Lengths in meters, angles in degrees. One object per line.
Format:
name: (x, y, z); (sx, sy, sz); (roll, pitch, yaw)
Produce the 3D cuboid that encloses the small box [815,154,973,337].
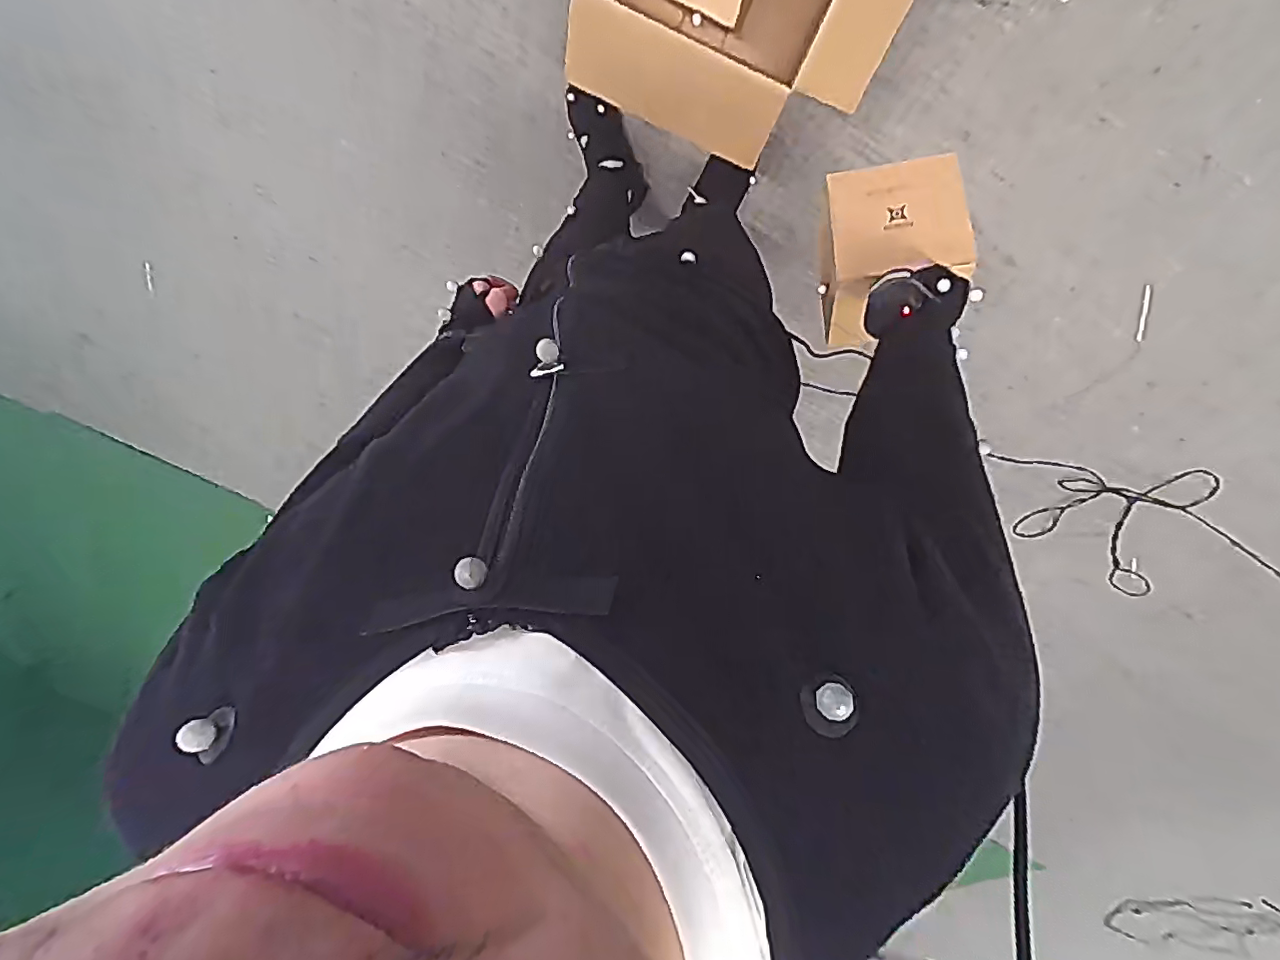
small box: (0.349, -0.320, 0.776); (0.168, 0.179, 0.176); (-2, 162, 11)
